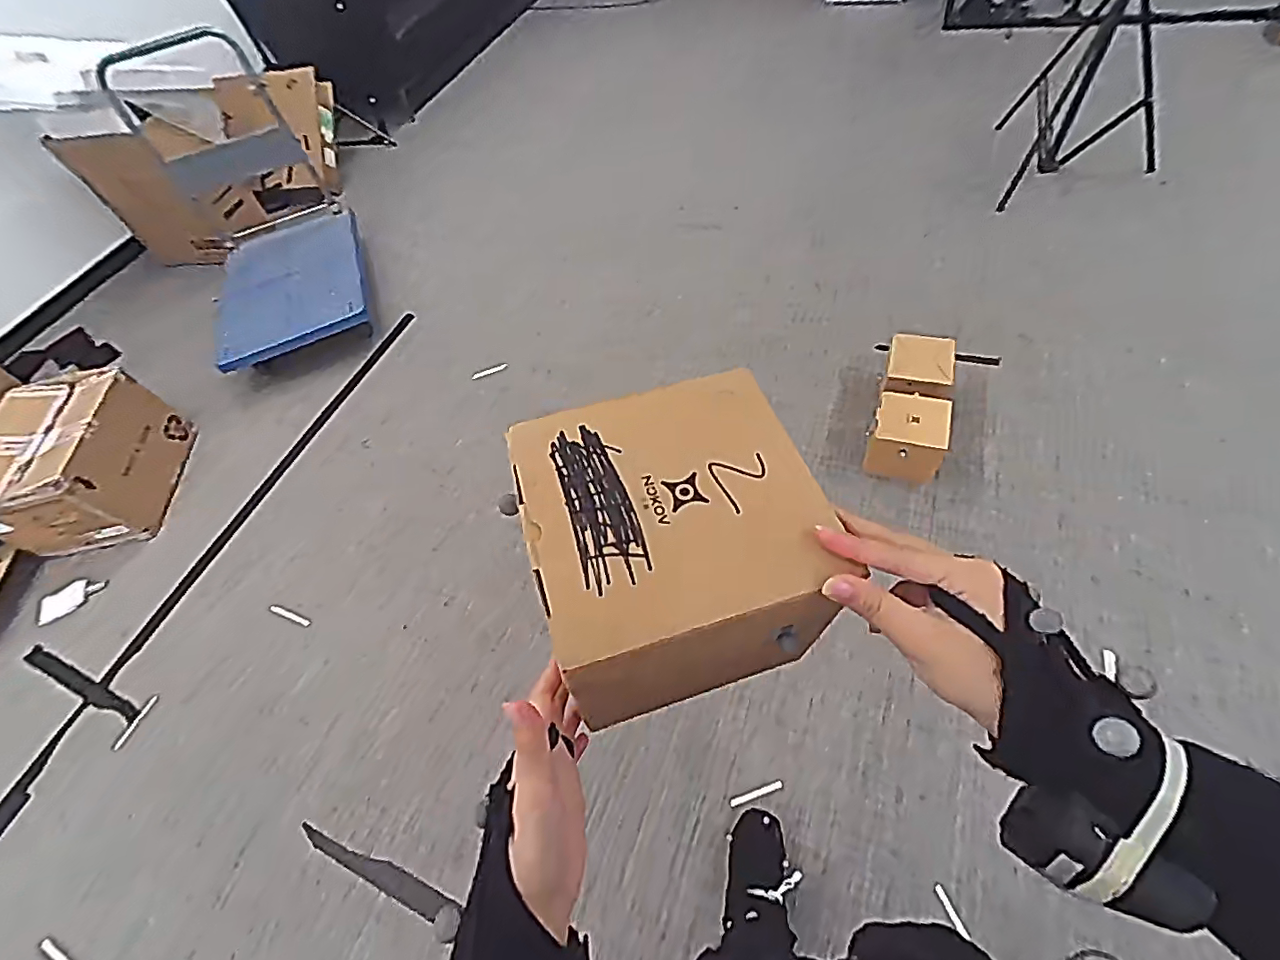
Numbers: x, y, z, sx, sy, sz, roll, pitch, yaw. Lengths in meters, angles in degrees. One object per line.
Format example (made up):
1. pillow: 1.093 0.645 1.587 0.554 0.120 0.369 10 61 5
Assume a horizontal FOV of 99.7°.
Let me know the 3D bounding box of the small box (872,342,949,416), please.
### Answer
1. small box: 0.797 -0.292 1.595 0.168 0.176 0.179 11 60 17

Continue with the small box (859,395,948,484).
1. small box: 0.724 -0.106 1.494 0.179 0.176 0.168 13 61 18
